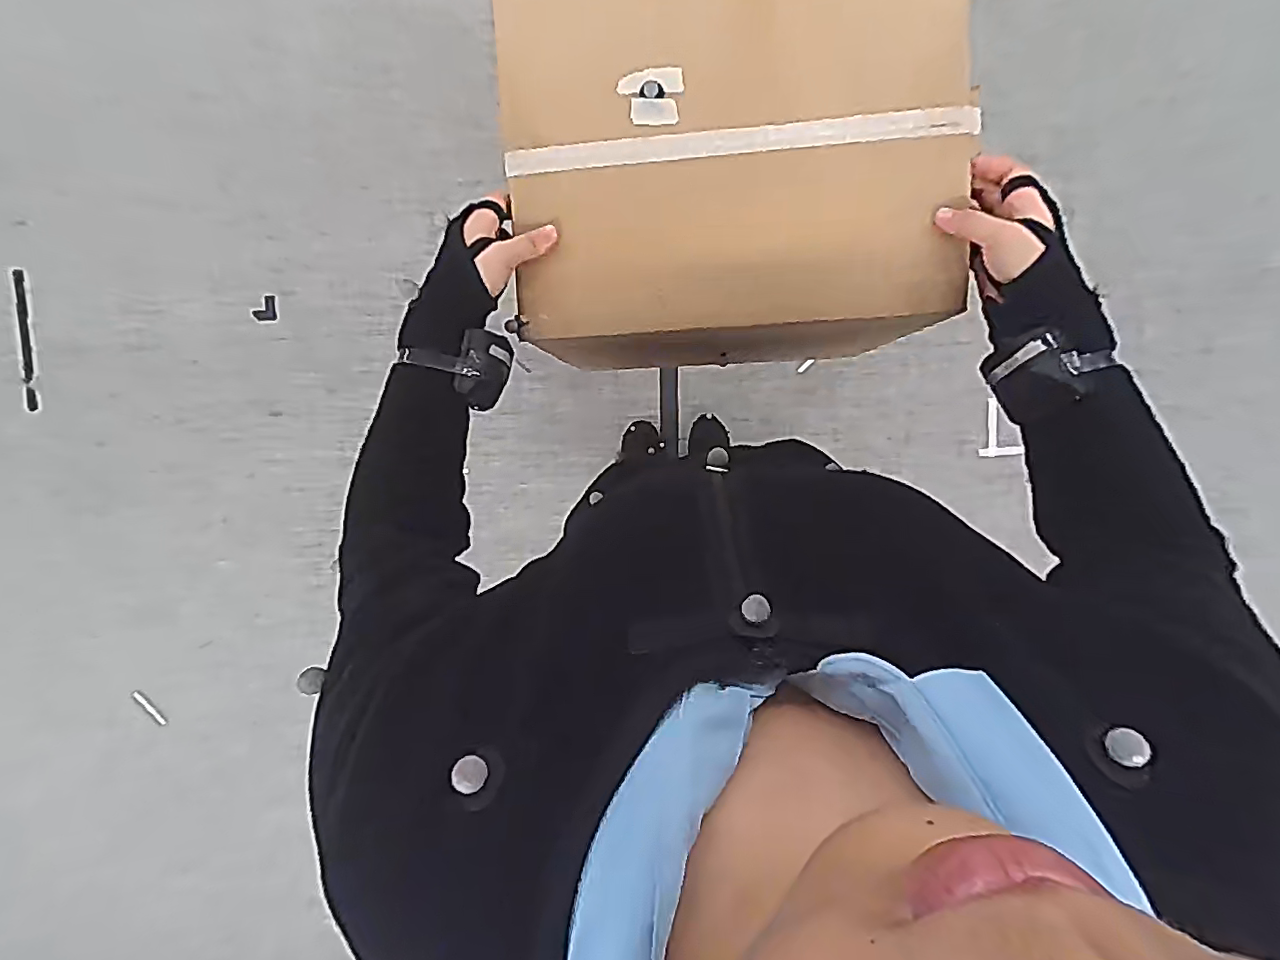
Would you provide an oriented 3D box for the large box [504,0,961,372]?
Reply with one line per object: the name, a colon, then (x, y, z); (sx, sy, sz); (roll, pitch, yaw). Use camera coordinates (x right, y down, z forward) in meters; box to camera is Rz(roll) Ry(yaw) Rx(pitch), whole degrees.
large box: (0.096, -0.309, 0.636); (0.408, 0.320, 0.320); (-3, 94, 6)
